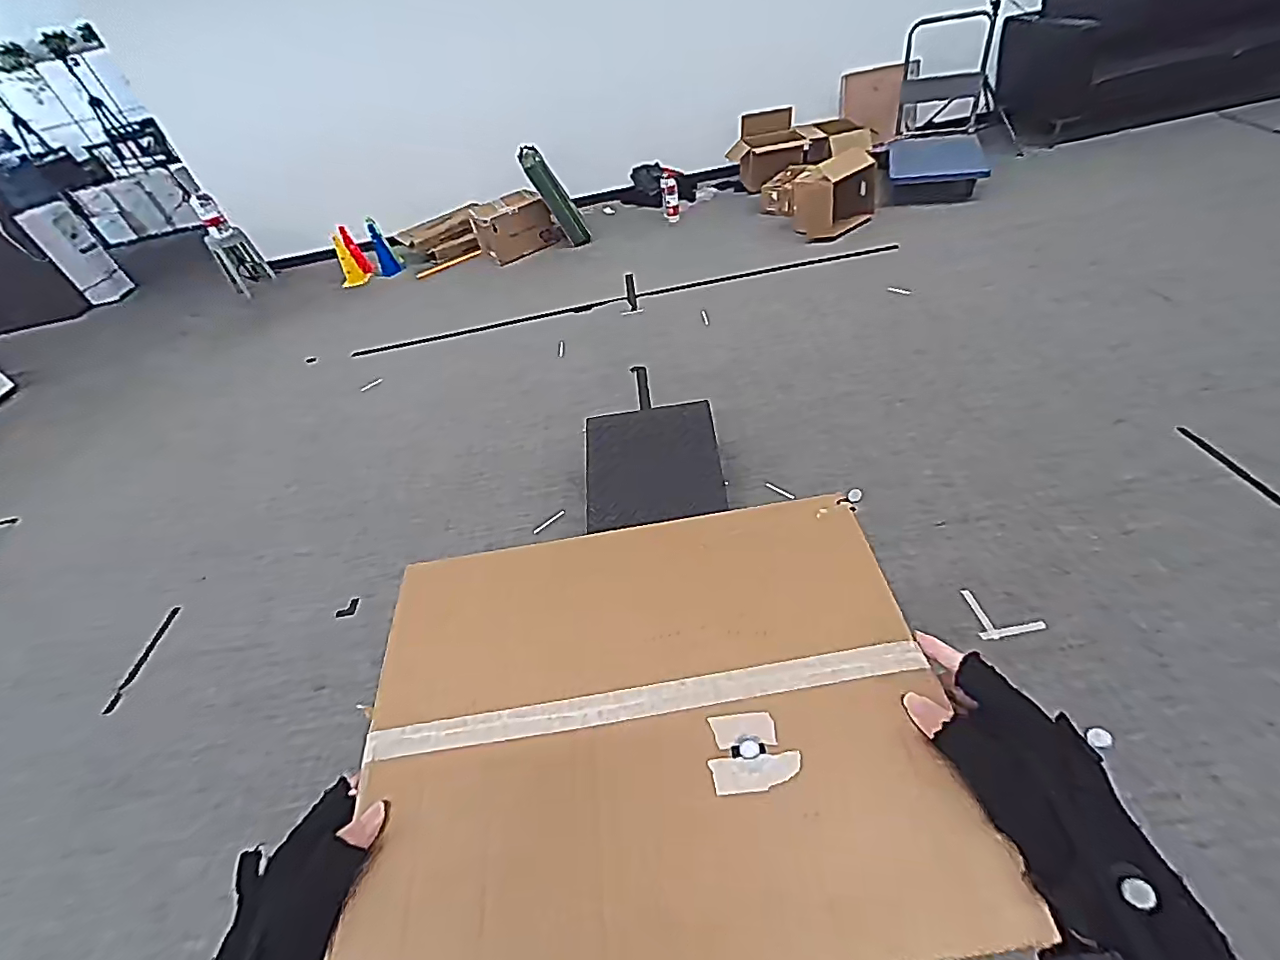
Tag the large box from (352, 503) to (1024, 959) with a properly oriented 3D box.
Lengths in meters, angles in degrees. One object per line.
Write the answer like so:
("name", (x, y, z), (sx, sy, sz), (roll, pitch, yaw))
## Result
("large box", (0.023, 0.265, 0.514), (0.408, 0.320, 0.320), (-10, 49, 1))
